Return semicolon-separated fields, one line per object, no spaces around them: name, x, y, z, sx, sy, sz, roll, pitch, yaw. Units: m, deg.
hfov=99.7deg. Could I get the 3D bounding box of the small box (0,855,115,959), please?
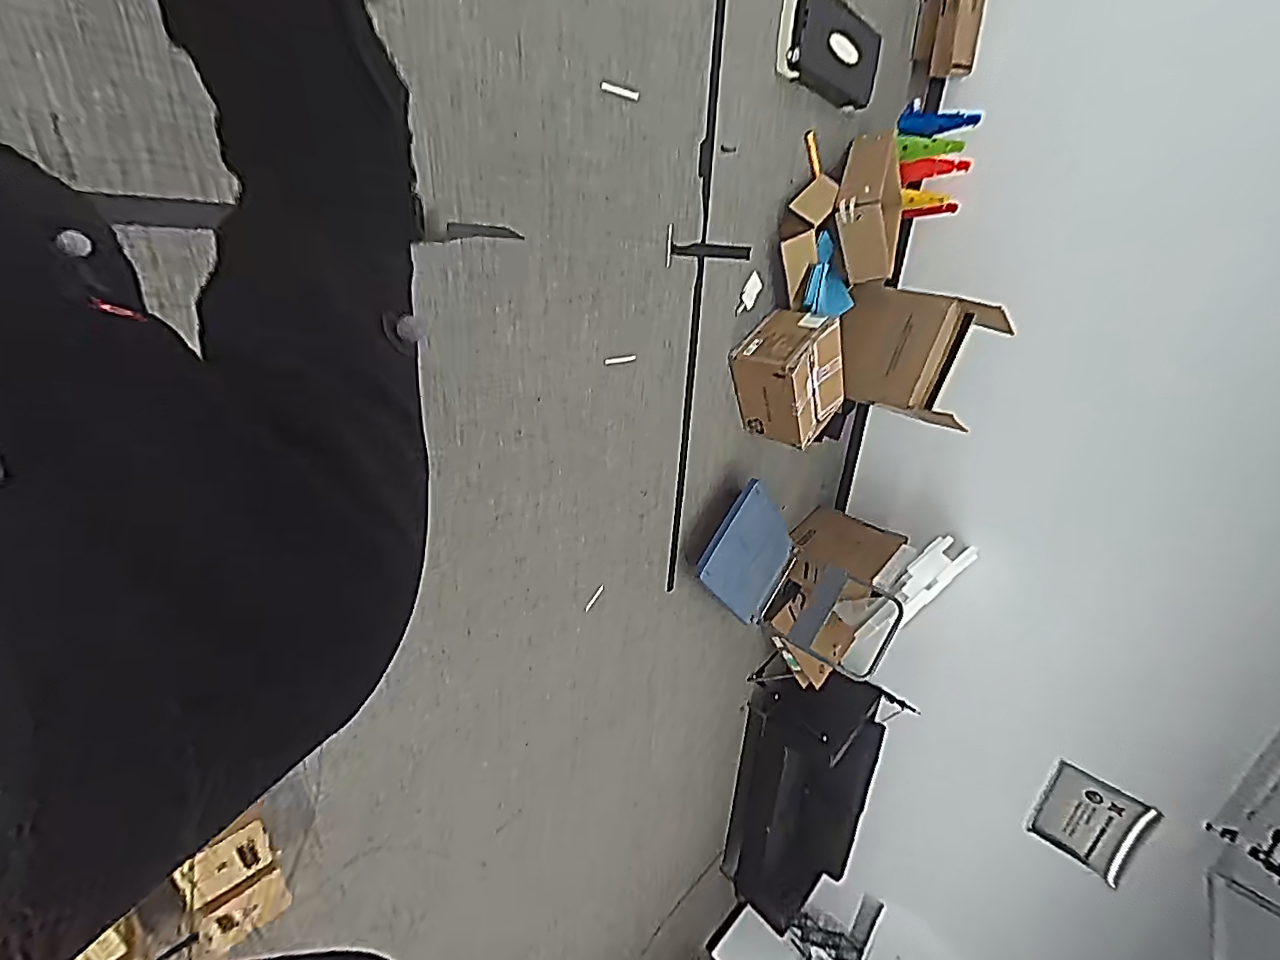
small box;-1.281;0.971;1.170;0.168;0.176;0.179;-21;123;-43
